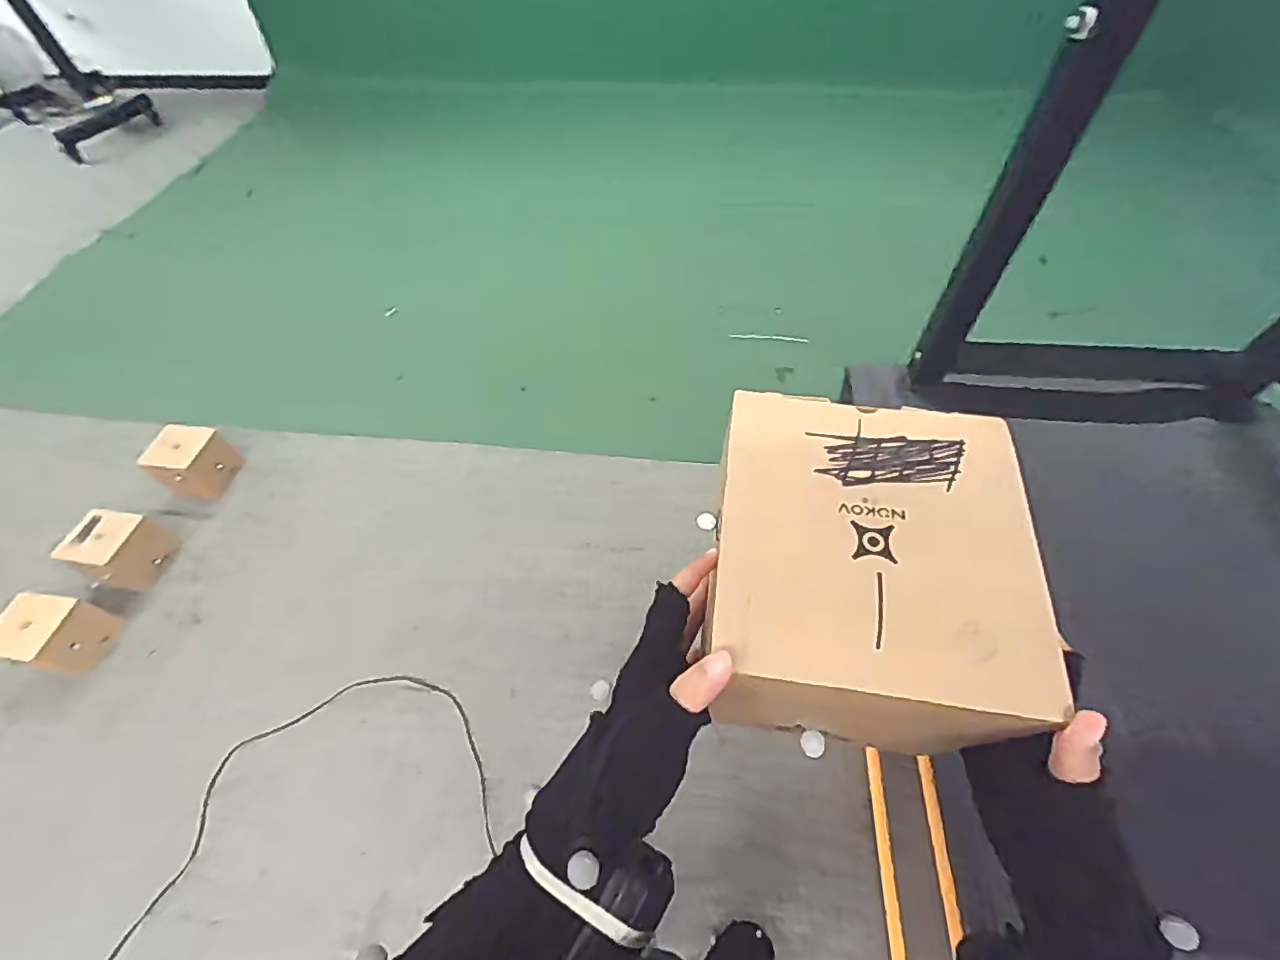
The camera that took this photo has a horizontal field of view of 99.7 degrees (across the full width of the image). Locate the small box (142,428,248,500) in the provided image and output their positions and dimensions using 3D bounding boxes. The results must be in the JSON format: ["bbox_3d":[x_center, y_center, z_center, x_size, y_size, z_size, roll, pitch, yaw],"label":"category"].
[{"bbox_3d":[-1.457,-0.048,1.787,0.179,0.176,0.168,5,54,5],"label":"small box"}]

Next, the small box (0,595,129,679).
[{"bbox_3d":[-1.549,0.424,1.446,0.179,0.176,0.168,4,55,5],"label":"small box"}]
